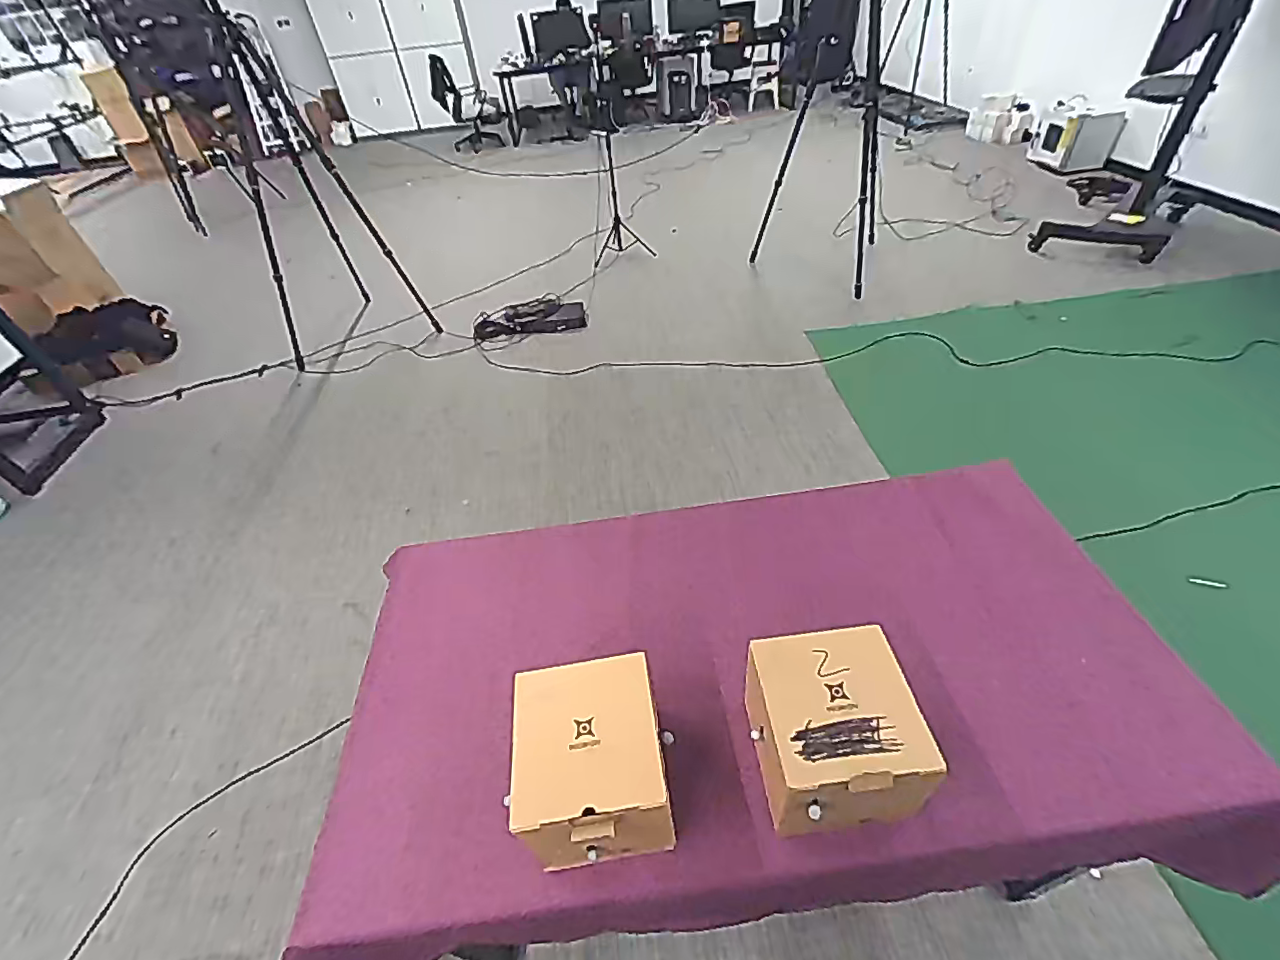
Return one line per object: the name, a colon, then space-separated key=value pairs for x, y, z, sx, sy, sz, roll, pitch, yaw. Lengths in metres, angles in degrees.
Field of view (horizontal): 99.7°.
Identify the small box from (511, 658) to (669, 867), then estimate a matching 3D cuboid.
small box: x=-0.059 y=0.355 z=0.682 sx=0.168 sy=0.176 sz=0.179 roll=-9 pitch=44 yaw=-2
